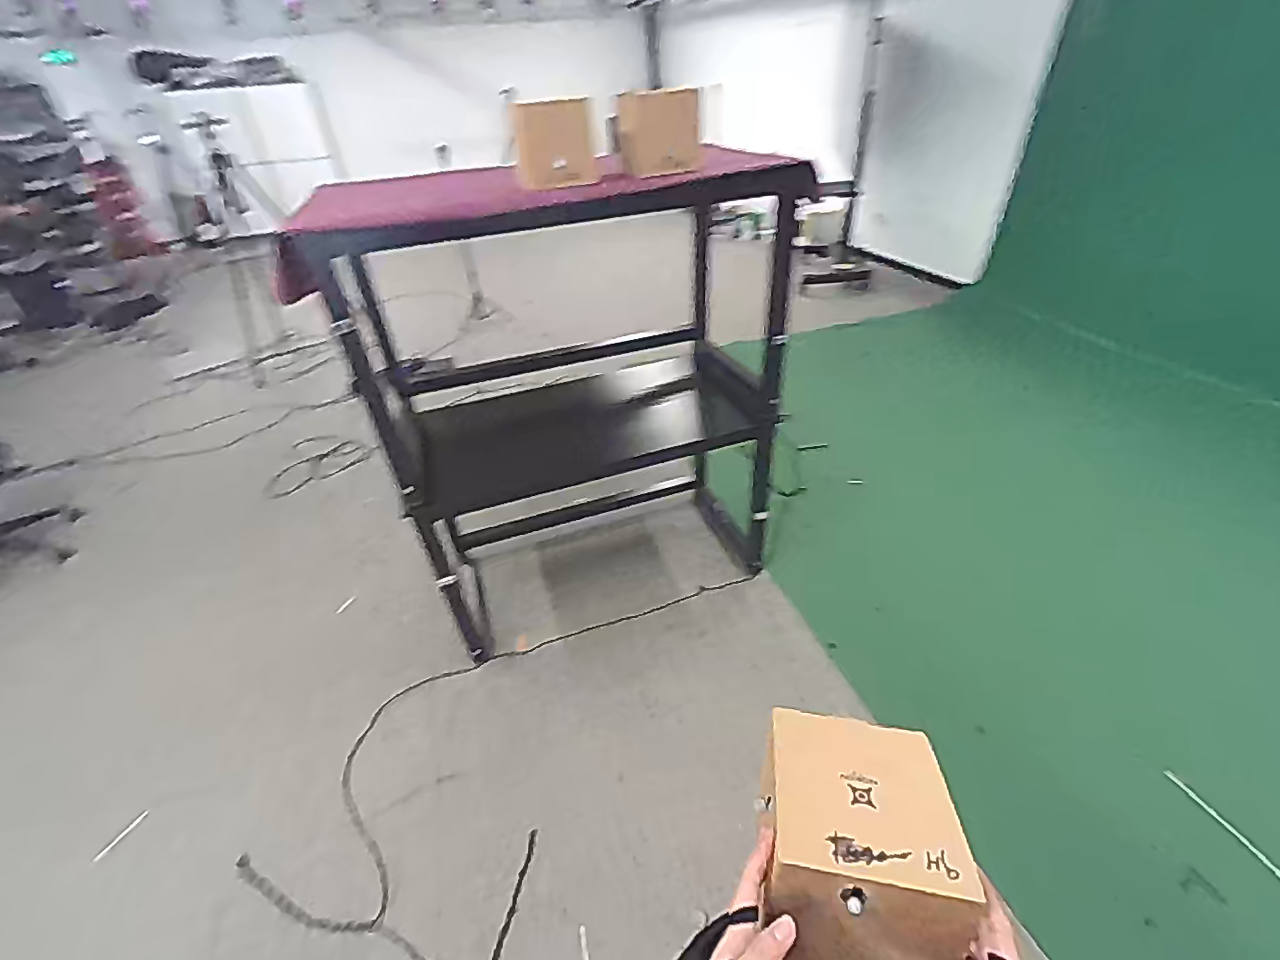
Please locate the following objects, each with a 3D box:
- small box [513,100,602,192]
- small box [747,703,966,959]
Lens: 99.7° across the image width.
[{"bbox_3d":[-0.192,-0.782,1.265,0.168,0.176,0.179,-14,38,-13],"label":"small box"},{"bbox_3d":[0.202,0.371,0.564,0.168,0.176,0.179,5,22,9],"label":"small box"}]
